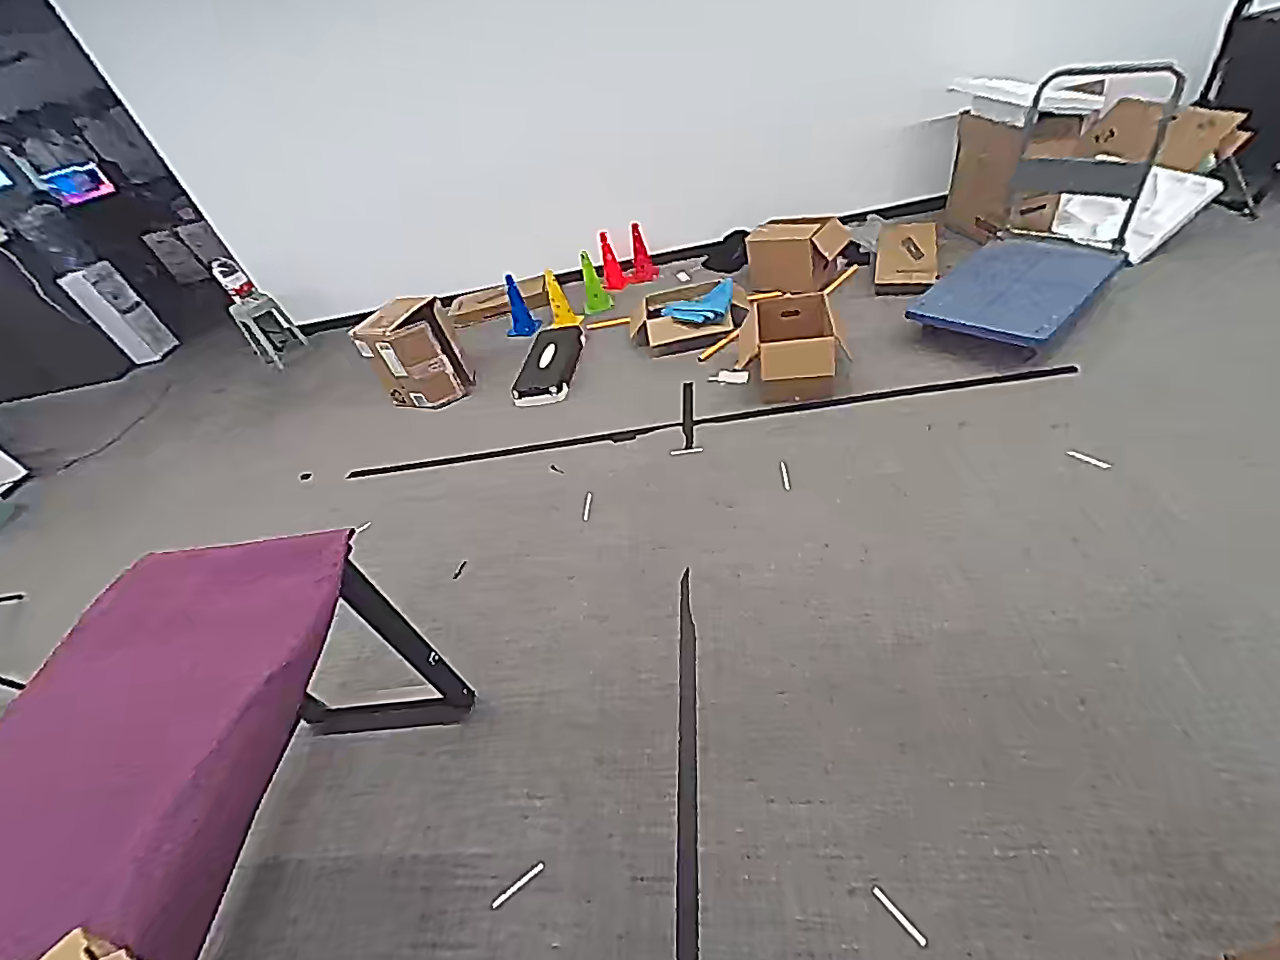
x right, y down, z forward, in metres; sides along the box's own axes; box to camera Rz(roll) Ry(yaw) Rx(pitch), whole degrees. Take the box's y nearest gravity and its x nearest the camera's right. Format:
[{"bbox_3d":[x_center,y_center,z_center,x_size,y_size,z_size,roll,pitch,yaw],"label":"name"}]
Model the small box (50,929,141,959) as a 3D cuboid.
[{"bbox_3d":[-0.434,0.507,0.404,0.168,0.176,0.179,6,34,31],"label":"small box"}]
